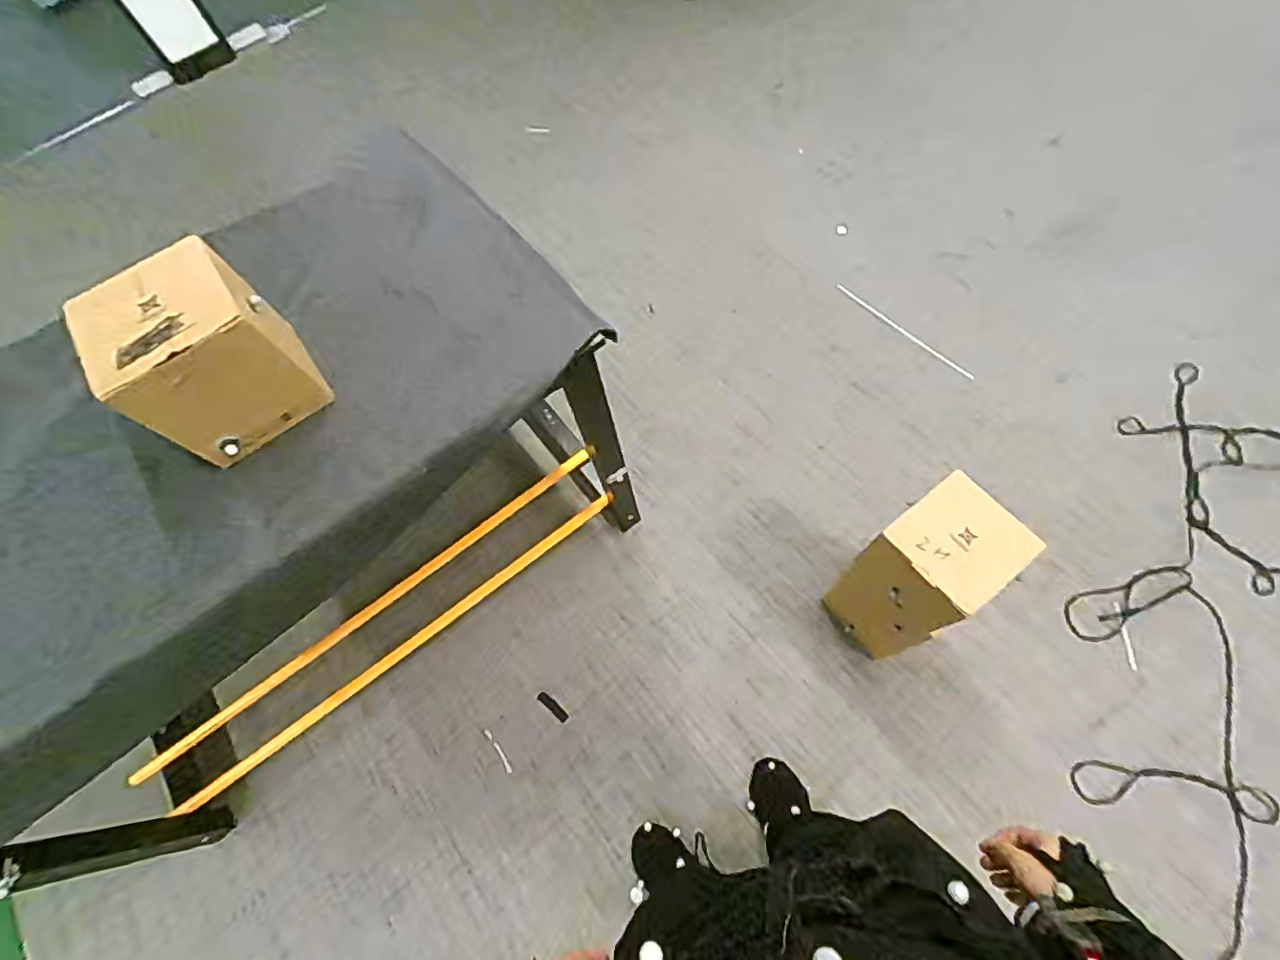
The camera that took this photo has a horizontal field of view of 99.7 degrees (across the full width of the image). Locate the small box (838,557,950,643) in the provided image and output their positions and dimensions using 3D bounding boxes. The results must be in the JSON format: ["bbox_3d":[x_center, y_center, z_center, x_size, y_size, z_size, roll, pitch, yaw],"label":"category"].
[{"bbox_3d":[0.511,0.191,1.029,0.168,0.176,0.179,-37,67,-11],"label":"small box"}]

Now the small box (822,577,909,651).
[{"bbox_3d":[0.530,0.255,1.176,0.168,0.176,0.179,-34,69,-10],"label":"small box"}]

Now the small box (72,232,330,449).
[{"bbox_3d":[-0.533,-0.161,0.678,0.168,0.176,0.179,-36,66,-10],"label":"small box"}]

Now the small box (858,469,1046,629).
[{"bbox_3d":[0.491,0.119,0.882,0.179,0.176,0.168,-36,67,-10],"label":"small box"}]
